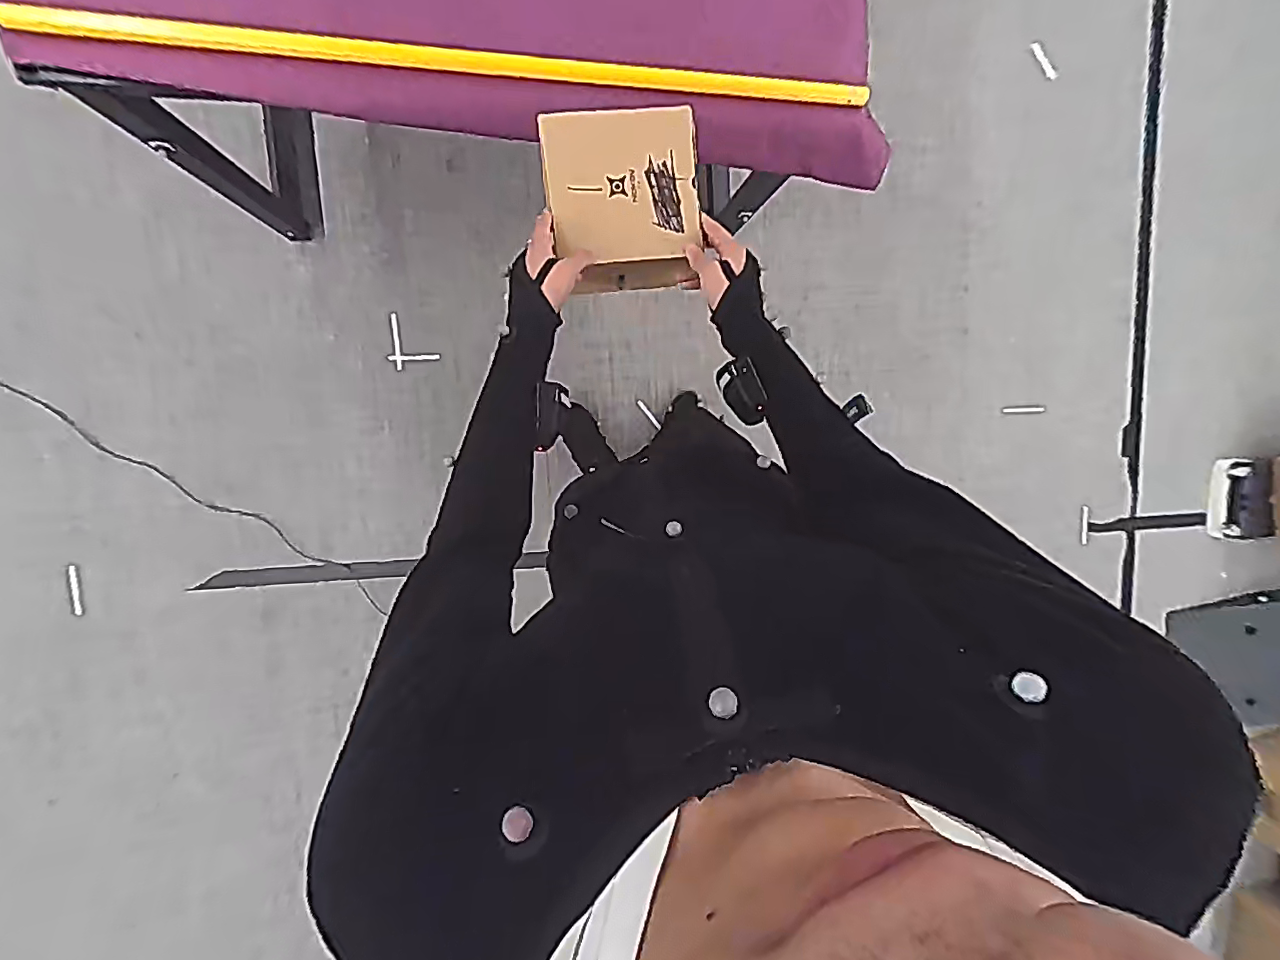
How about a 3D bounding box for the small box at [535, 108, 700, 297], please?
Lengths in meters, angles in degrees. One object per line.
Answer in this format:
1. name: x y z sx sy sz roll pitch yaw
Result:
1. small box: -0.033 -0.338 0.688 0.179 0.176 0.168 -8 98 -6
